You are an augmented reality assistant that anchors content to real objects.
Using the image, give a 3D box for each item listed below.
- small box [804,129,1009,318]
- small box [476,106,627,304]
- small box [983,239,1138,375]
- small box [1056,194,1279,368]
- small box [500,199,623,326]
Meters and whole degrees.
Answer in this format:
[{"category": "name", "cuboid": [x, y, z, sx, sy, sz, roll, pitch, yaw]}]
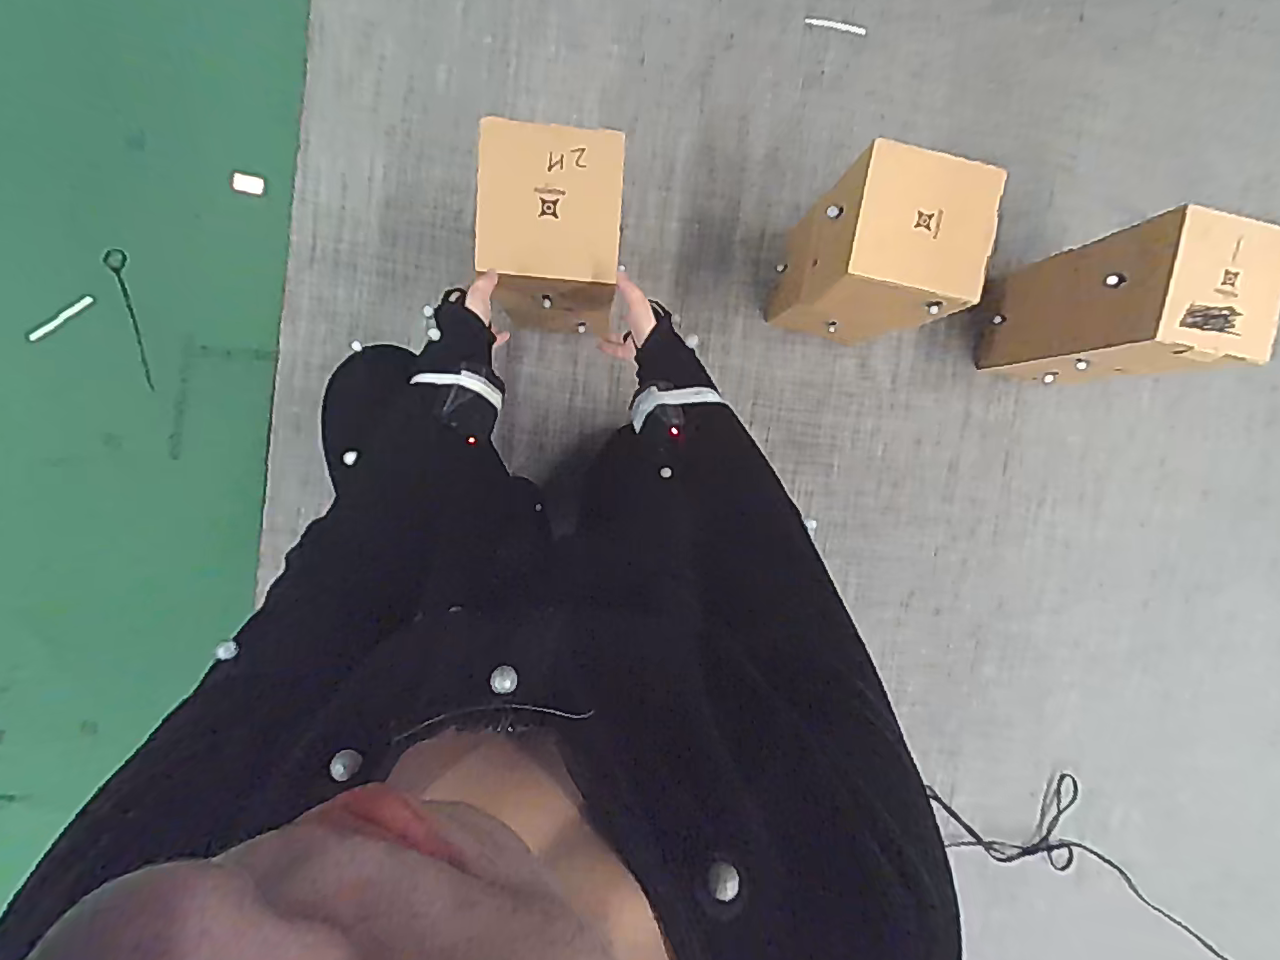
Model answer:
[{"category": "small box", "cuboid": [0.344, -0.330, 0.734, 0.179, 0.176, 0.168, 10, 94, -5]}, {"category": "small box", "cuboid": [-0.108, -0.337, 0.701, 0.168, 0.176, 0.179, 4, 95, -6]}, {"category": "small box", "cuboid": [0.733, -0.284, 0.930, 0.168, 0.176, 0.179, 9, 95, -5]}, {"category": "small box", "cuboid": [0.743, -0.265, 0.766, 0.168, 0.176, 0.179, 10, 93, -5]}, {"category": "small box", "cuboid": [-0.119, -0.355, 0.864, 0.168, 0.176, 0.179, 6, 94, -5]}]
